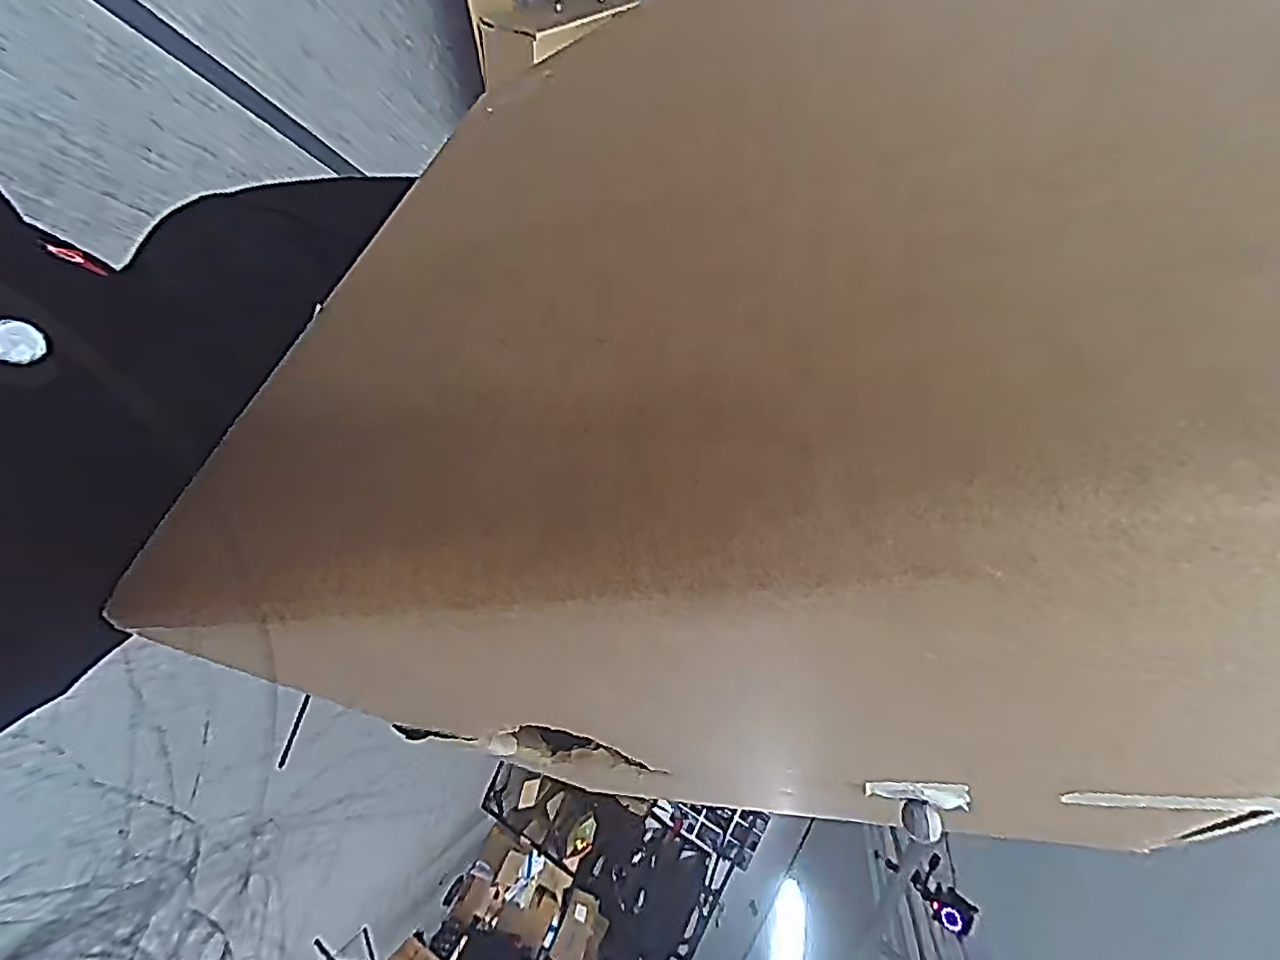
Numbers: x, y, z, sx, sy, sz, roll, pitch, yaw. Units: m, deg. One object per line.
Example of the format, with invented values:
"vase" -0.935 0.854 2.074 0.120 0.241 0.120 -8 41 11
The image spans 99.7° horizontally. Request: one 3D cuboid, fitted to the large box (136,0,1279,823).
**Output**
"large box" 0.059 -0.060 0.330 0.320 0.320 0.408 55 35 -45
